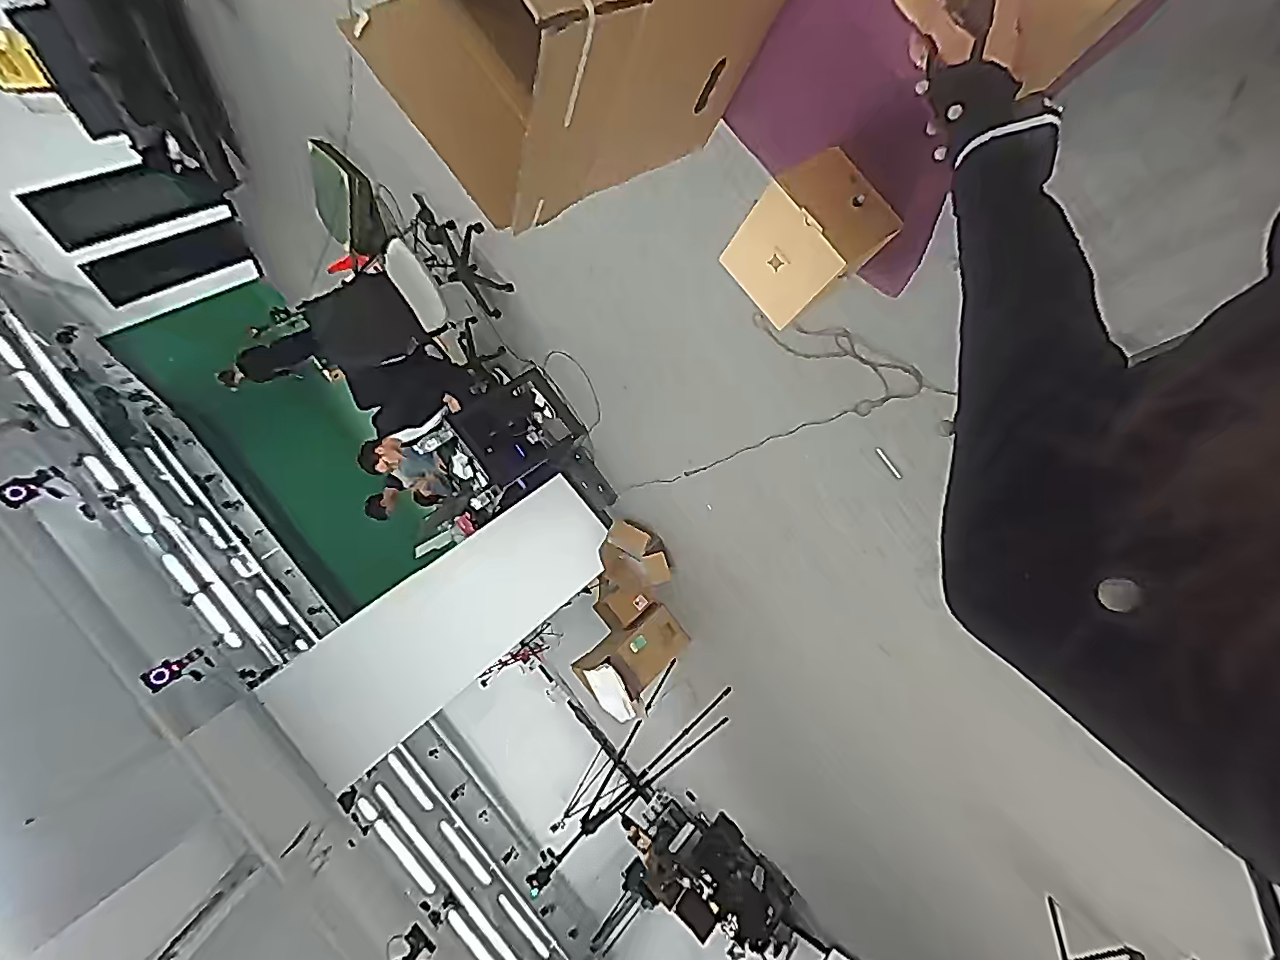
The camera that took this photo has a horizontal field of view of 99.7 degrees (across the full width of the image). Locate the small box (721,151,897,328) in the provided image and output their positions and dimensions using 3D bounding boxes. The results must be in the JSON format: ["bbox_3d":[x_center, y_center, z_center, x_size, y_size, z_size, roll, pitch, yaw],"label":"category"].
[{"bbox_3d":[0.271,-0.387,0.876,0.168,0.176,0.179,51,152,3],"label":"small box"}]
